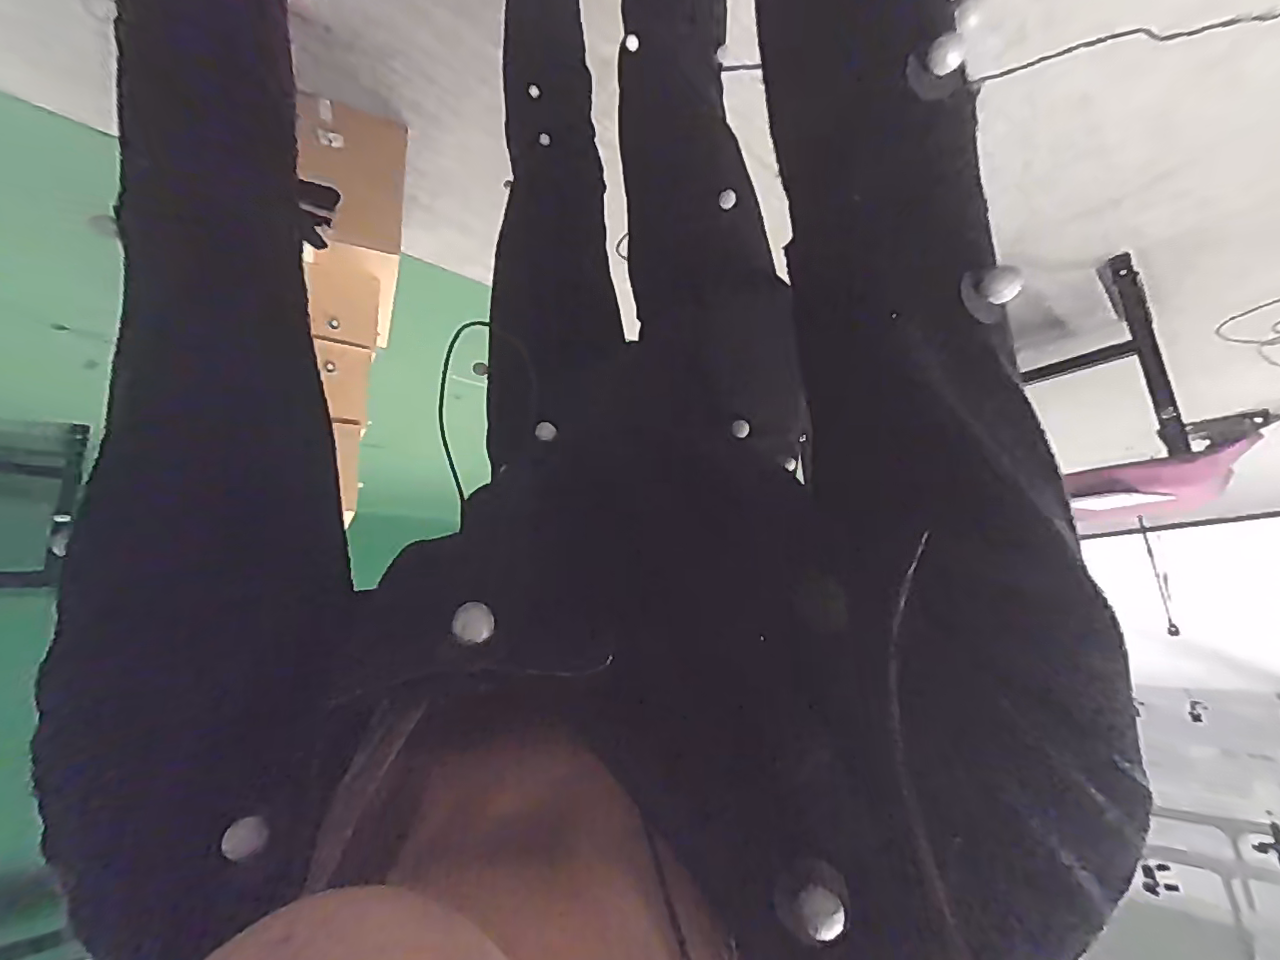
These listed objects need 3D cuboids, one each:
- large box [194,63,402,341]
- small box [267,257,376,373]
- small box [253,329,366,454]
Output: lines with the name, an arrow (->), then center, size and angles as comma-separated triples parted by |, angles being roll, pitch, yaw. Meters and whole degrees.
large box -> -0.696, -0.551, 1.160 | 0.320, 0.320, 0.408 | 6, 164, -28
small box -> -0.642, -0.318, 1.091 | 0.179, 0.176, 0.168 | 6, 162, -33
small box -> -0.636, -0.163, 1.043 | 0.168, 0.176, 0.179 | 7, 162, -34
